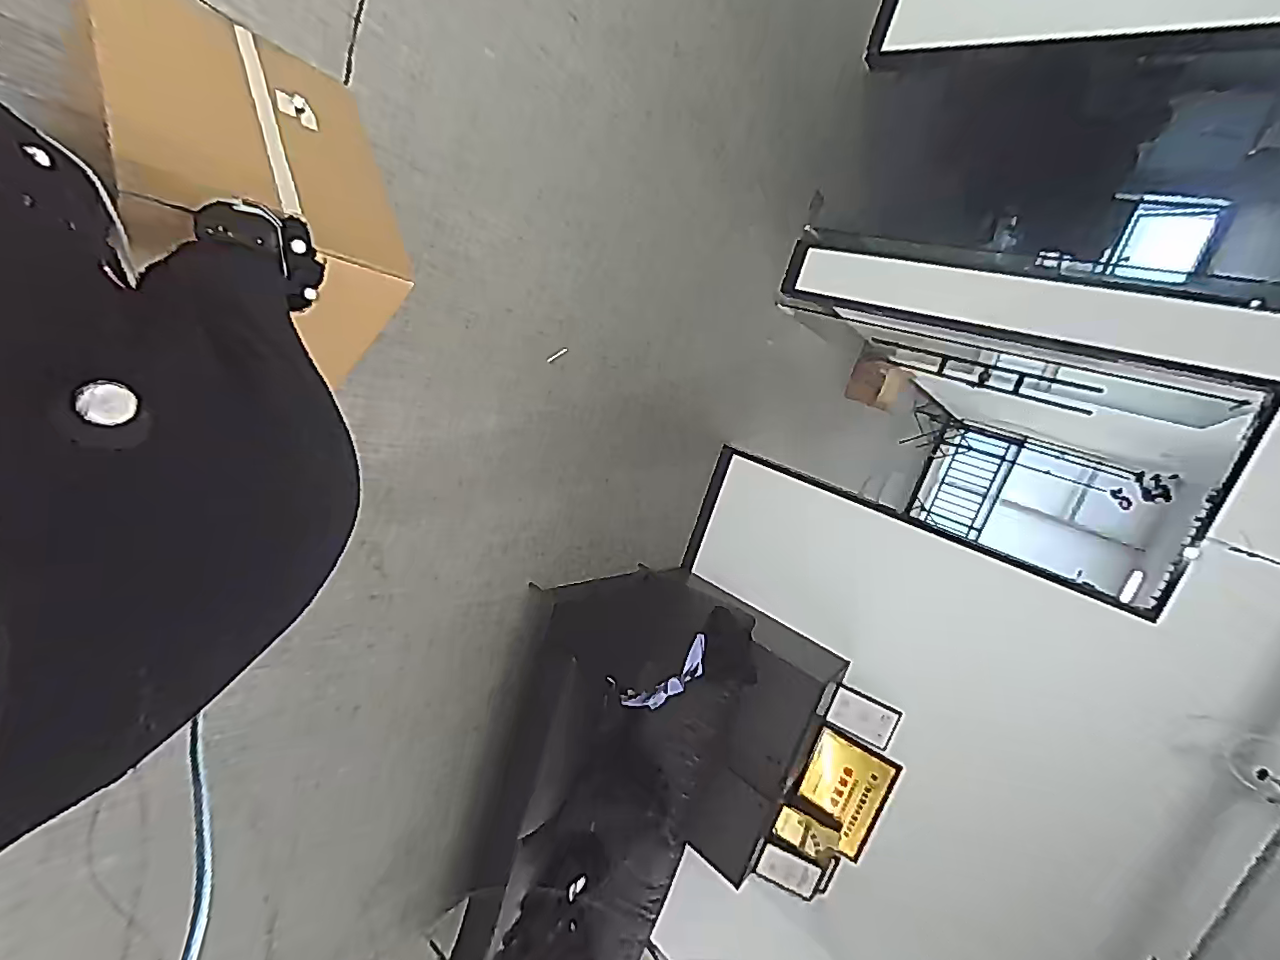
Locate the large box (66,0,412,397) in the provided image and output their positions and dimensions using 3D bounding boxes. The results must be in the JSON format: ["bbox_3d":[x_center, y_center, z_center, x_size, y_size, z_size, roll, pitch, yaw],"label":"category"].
[{"bbox_3d":[-0.597,-0.377,0.796,0.320,0.408,0.320,-35,160,33],"label":"large box"}]
